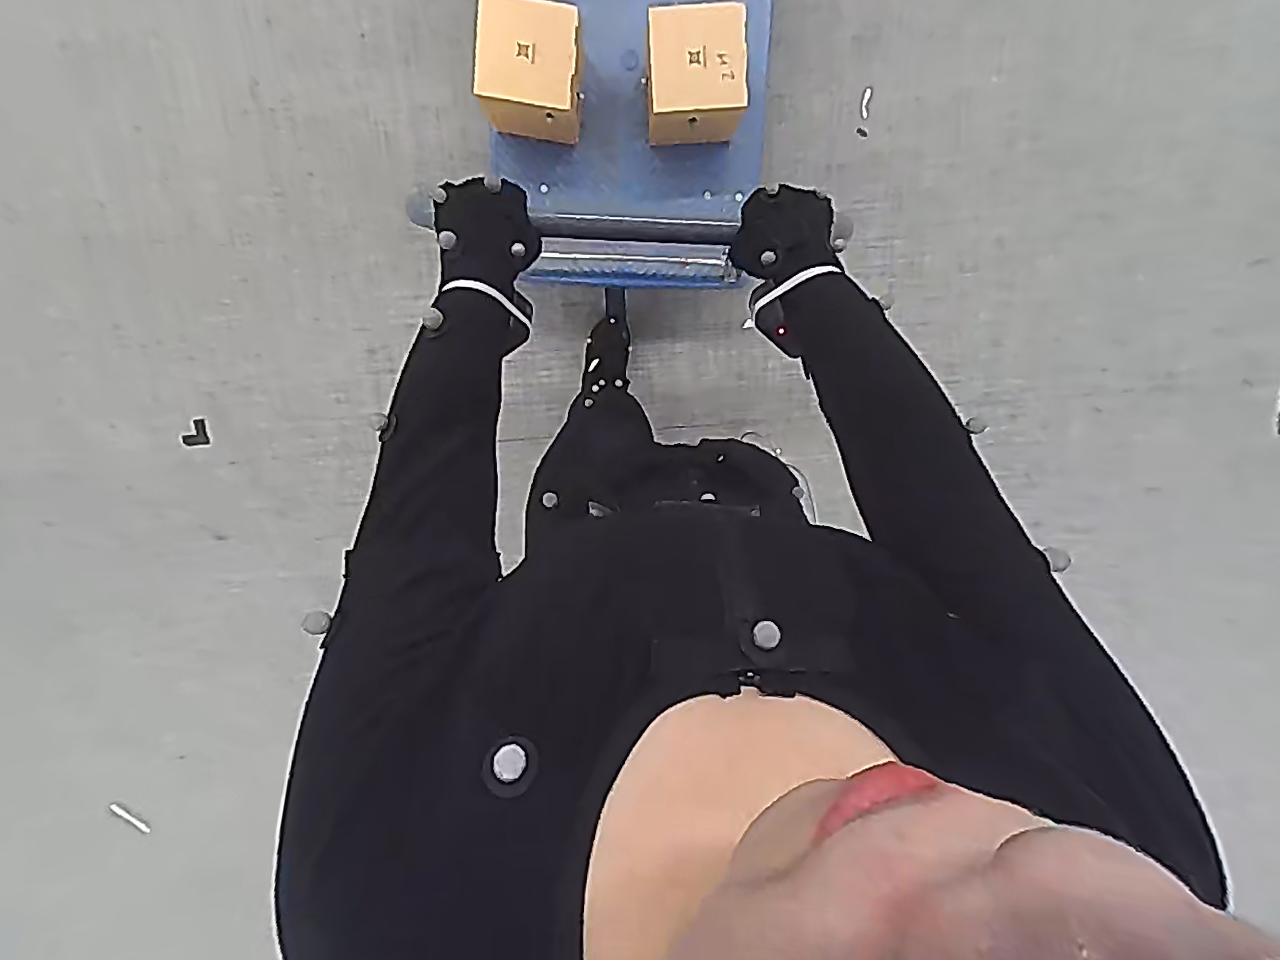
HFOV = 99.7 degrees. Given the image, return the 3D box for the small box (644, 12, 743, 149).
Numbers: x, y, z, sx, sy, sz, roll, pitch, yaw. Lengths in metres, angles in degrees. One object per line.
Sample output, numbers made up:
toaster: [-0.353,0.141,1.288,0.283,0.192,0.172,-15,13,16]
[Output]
small box: [0.097,-0.765,1.054,0.179,0.176,0.168,-4,104,-1]

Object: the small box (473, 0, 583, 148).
small box: [-0.209,-0.769,1.043,0.179,0.176,0.168,6,103,-5]
